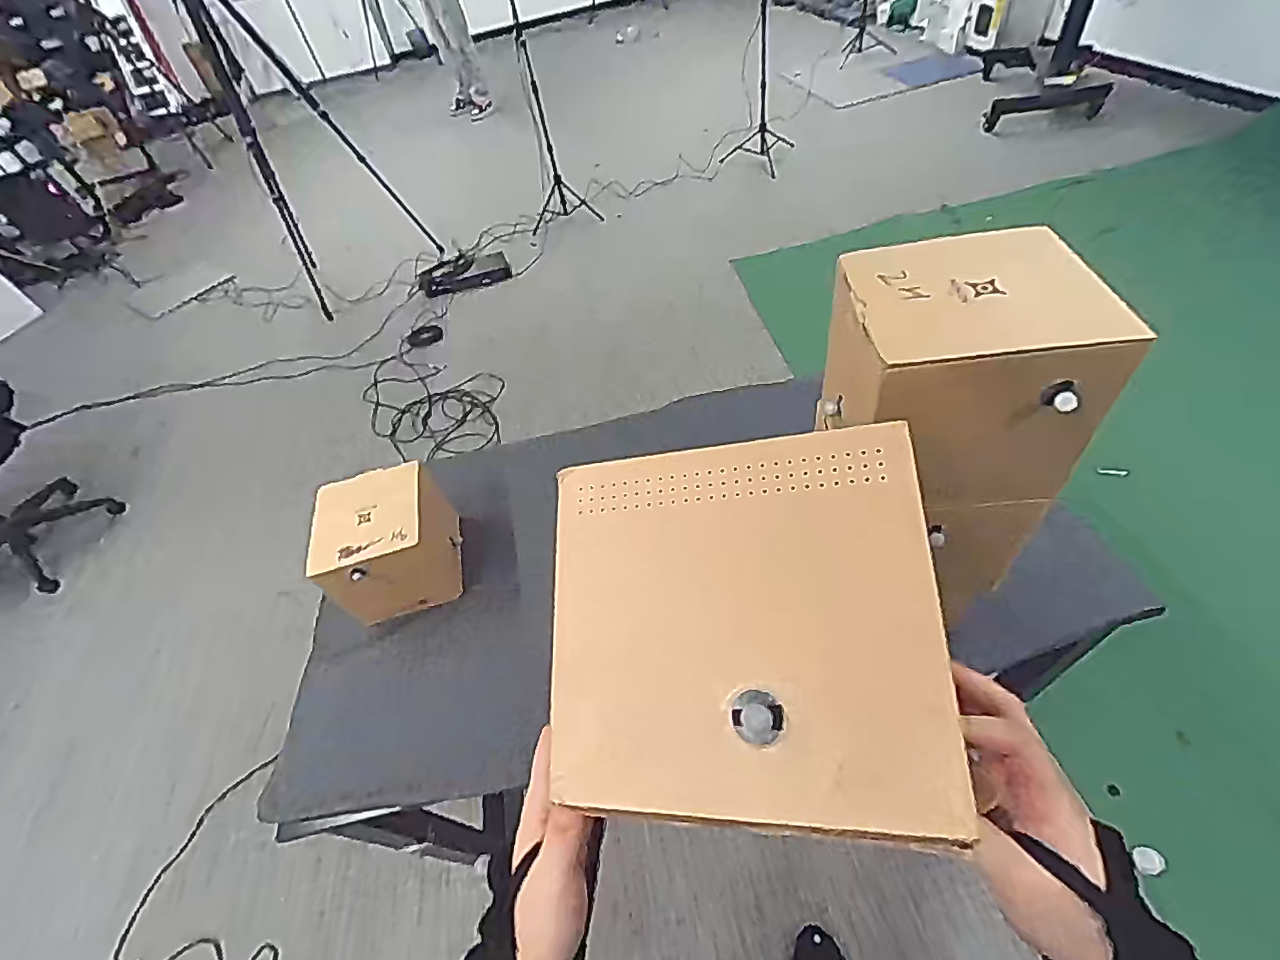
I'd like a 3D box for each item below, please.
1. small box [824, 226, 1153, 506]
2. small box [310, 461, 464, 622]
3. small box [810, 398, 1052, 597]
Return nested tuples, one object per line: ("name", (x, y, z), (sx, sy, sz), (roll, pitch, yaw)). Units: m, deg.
("small box", (0.271, -0.093, 0.478), (0.179, 0.176, 0.168), (-5, 48, 10))
("small box", (-0.399, 0.102, 0.885), (0.168, 0.176, 0.179), (-16, 50, -3))
("small box", (0.296, 0.015, 0.599), (0.179, 0.176, 0.168), (-6, 49, 8))
